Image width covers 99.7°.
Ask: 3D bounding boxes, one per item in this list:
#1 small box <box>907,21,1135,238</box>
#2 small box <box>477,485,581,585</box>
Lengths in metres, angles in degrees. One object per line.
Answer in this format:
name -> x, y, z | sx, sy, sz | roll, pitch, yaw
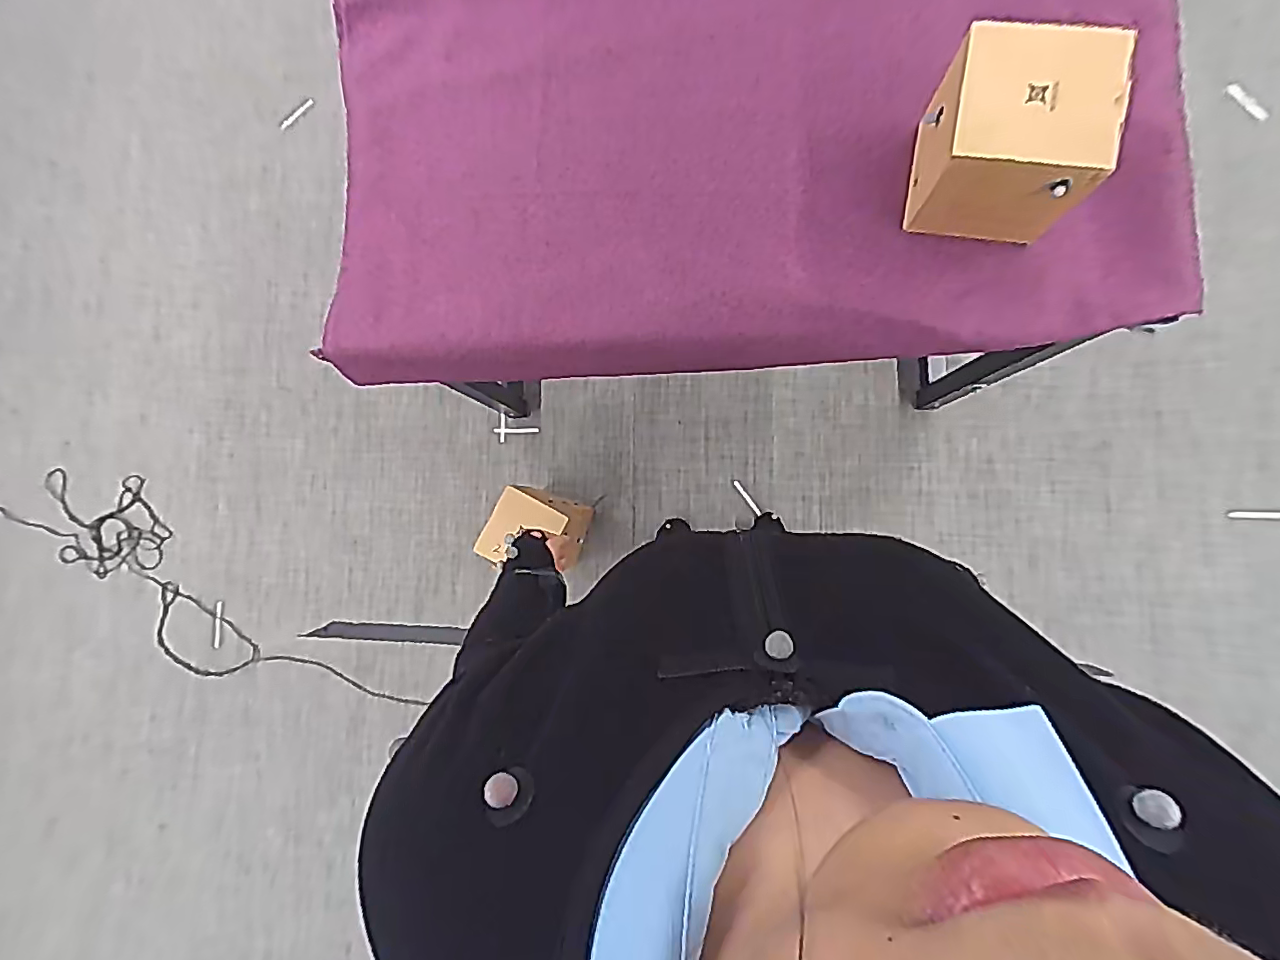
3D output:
small box -> 0.465, -0.431, 0.690 | 0.179, 0.176, 0.168 | 9, 87, 7
small box -> -0.256, 0.128, 1.302 | 0.168, 0.176, 0.179 | 28, 91, 7
